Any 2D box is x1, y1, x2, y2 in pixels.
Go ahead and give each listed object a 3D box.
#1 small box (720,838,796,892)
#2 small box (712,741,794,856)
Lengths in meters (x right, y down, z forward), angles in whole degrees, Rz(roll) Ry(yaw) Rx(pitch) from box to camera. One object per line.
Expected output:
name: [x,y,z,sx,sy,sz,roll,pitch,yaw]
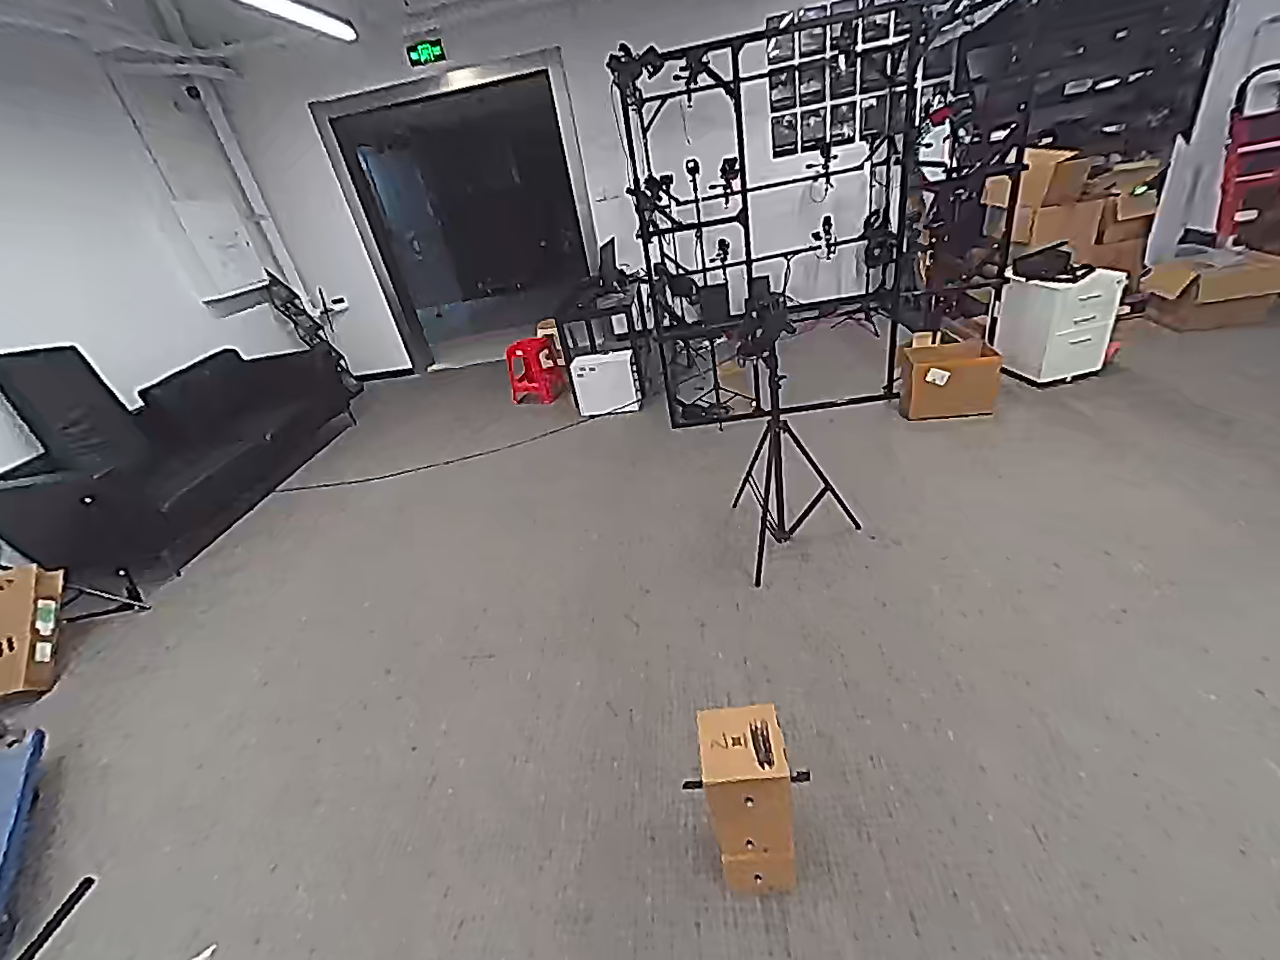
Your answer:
small box: [0.286,0.890,1.342,0.168,0.176,0.179,-8,29,6]
small box: [0.262,0.746,1.269,0.168,0.176,0.179,-7,30,8]
